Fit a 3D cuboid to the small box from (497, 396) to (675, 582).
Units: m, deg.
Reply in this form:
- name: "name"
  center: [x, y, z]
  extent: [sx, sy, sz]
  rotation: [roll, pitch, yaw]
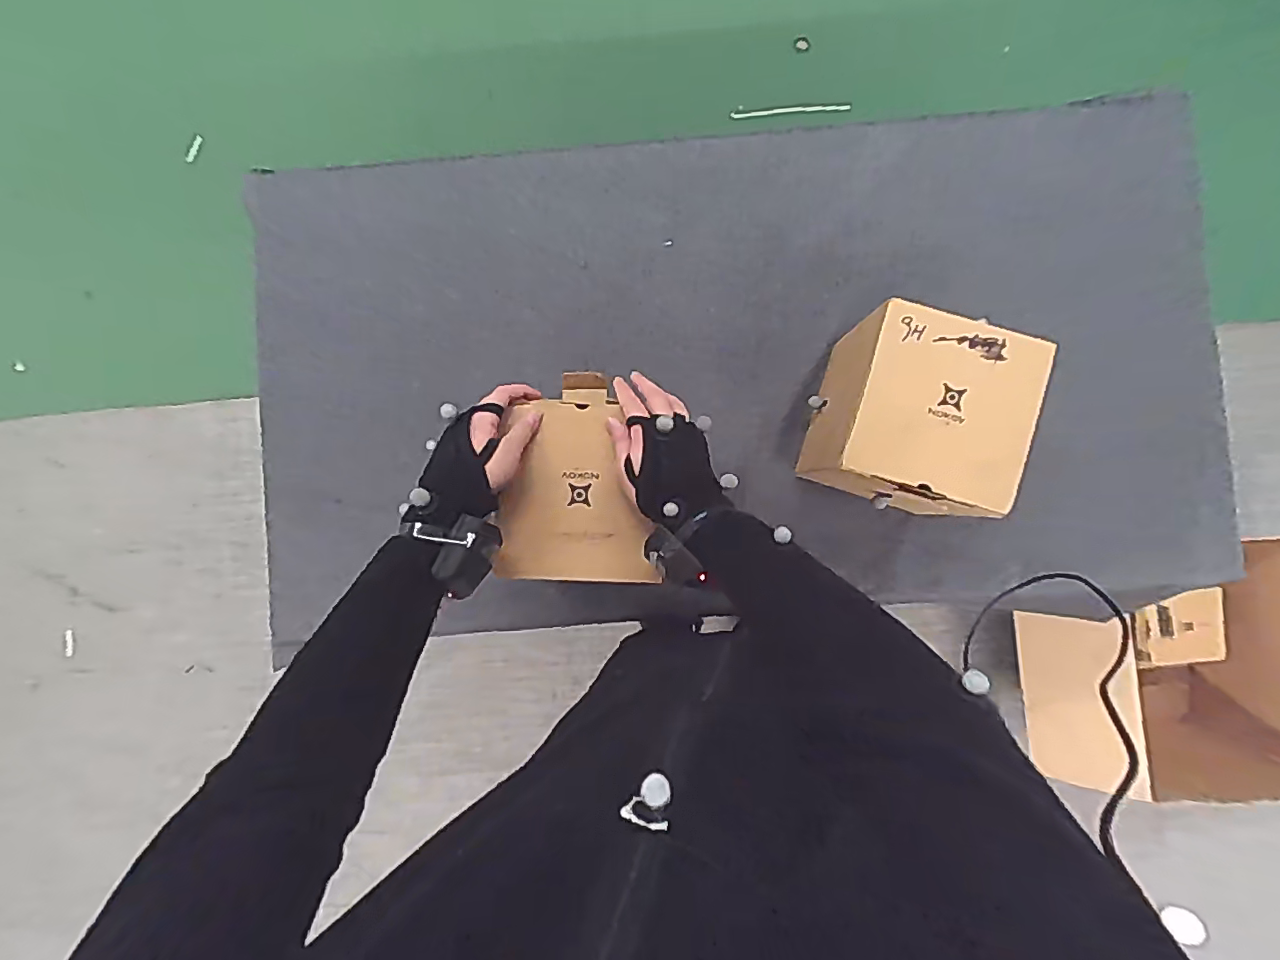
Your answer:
- name: "small box"
  center: [-0.049, 0.012, 0.592]
  extent: [0.168, 0.176, 0.179]
  rotation: [1, 88, 2]

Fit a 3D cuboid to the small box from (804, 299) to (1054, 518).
- name: "small box"
  center: [0.298, -0.069, 0.601]
  extent: [0.168, 0.176, 0.179]
  rotation: [18, 89, 2]
